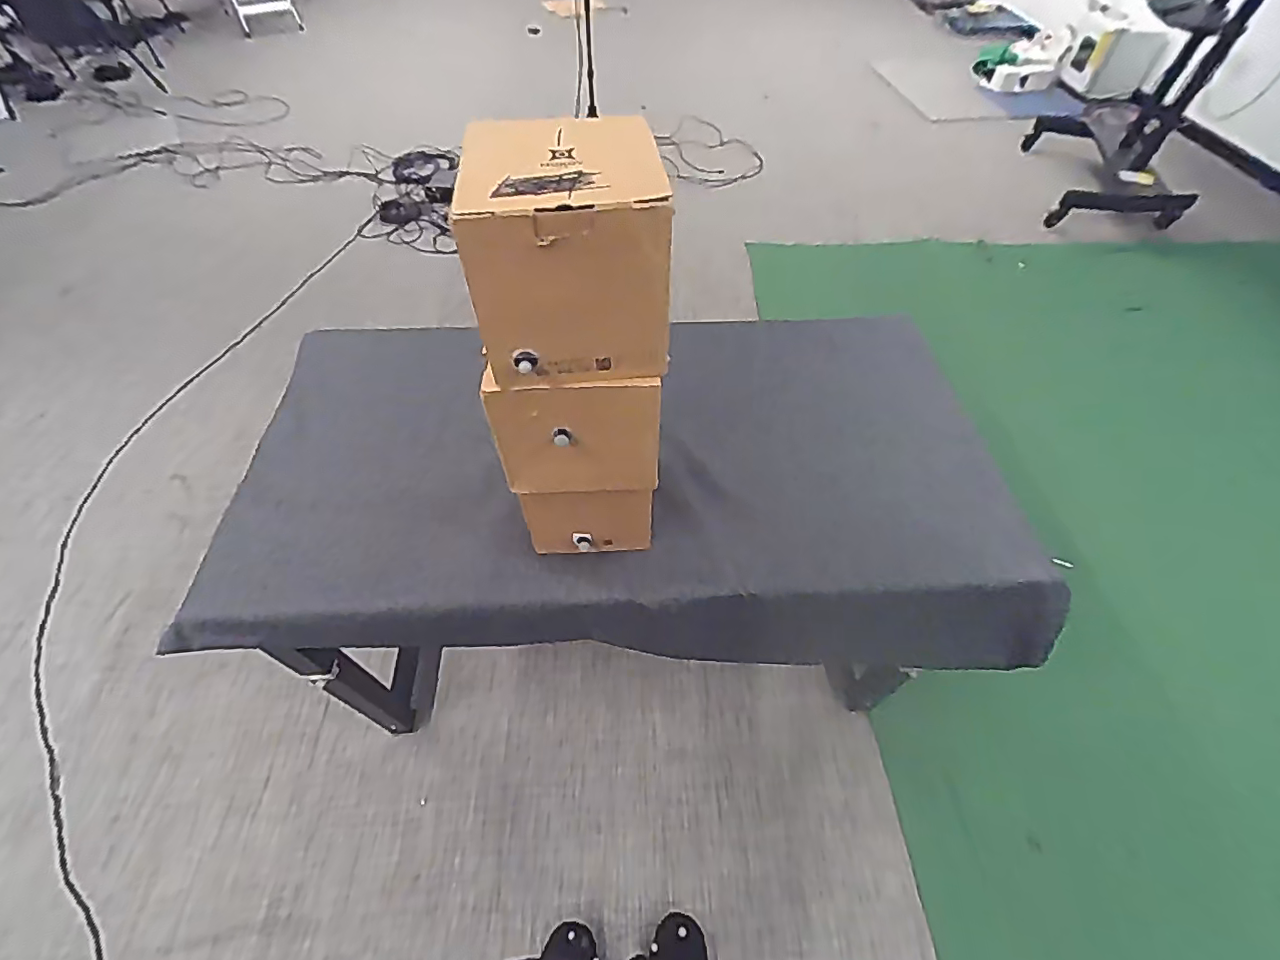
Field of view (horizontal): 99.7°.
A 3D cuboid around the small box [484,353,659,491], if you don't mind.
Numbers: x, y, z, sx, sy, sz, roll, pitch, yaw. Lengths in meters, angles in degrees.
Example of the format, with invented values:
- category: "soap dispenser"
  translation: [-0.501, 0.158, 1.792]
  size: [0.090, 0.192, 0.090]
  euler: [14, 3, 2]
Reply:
- category: "small box"
  translation: [-0.072, -0.100, 0.642]
  size: [0.179, 0.176, 0.168]
  euler: [-4, 50, -3]

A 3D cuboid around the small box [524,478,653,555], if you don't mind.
- category: "small box"
  translation: [-0.071, -0.012, 0.777]
  size: [0.168, 0.176, 0.179]
  euler: [-4, 53, -2]

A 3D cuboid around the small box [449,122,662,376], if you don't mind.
- category: "small box"
  translation: [-0.069, -0.213, 0.517]
  size: [0.168, 0.176, 0.179]
  euler: [-5, 51, -4]
